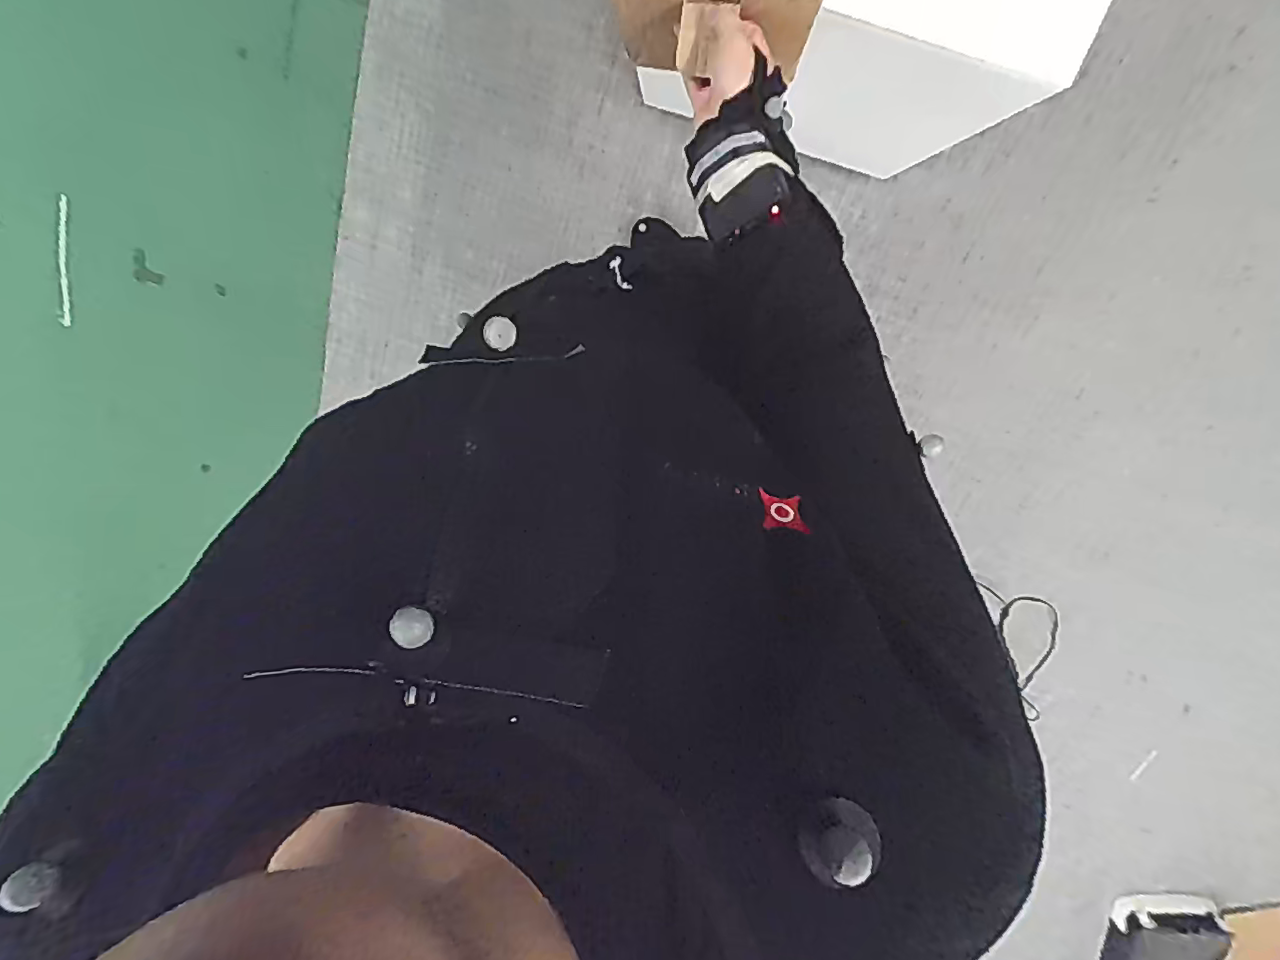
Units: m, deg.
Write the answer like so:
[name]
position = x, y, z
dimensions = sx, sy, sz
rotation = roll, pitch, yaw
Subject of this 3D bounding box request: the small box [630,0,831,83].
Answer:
[small box]
position = 0.080, -0.467, 0.442
dimensions = 0.168, 0.176, 0.179
rotation = 10, 109, 3
